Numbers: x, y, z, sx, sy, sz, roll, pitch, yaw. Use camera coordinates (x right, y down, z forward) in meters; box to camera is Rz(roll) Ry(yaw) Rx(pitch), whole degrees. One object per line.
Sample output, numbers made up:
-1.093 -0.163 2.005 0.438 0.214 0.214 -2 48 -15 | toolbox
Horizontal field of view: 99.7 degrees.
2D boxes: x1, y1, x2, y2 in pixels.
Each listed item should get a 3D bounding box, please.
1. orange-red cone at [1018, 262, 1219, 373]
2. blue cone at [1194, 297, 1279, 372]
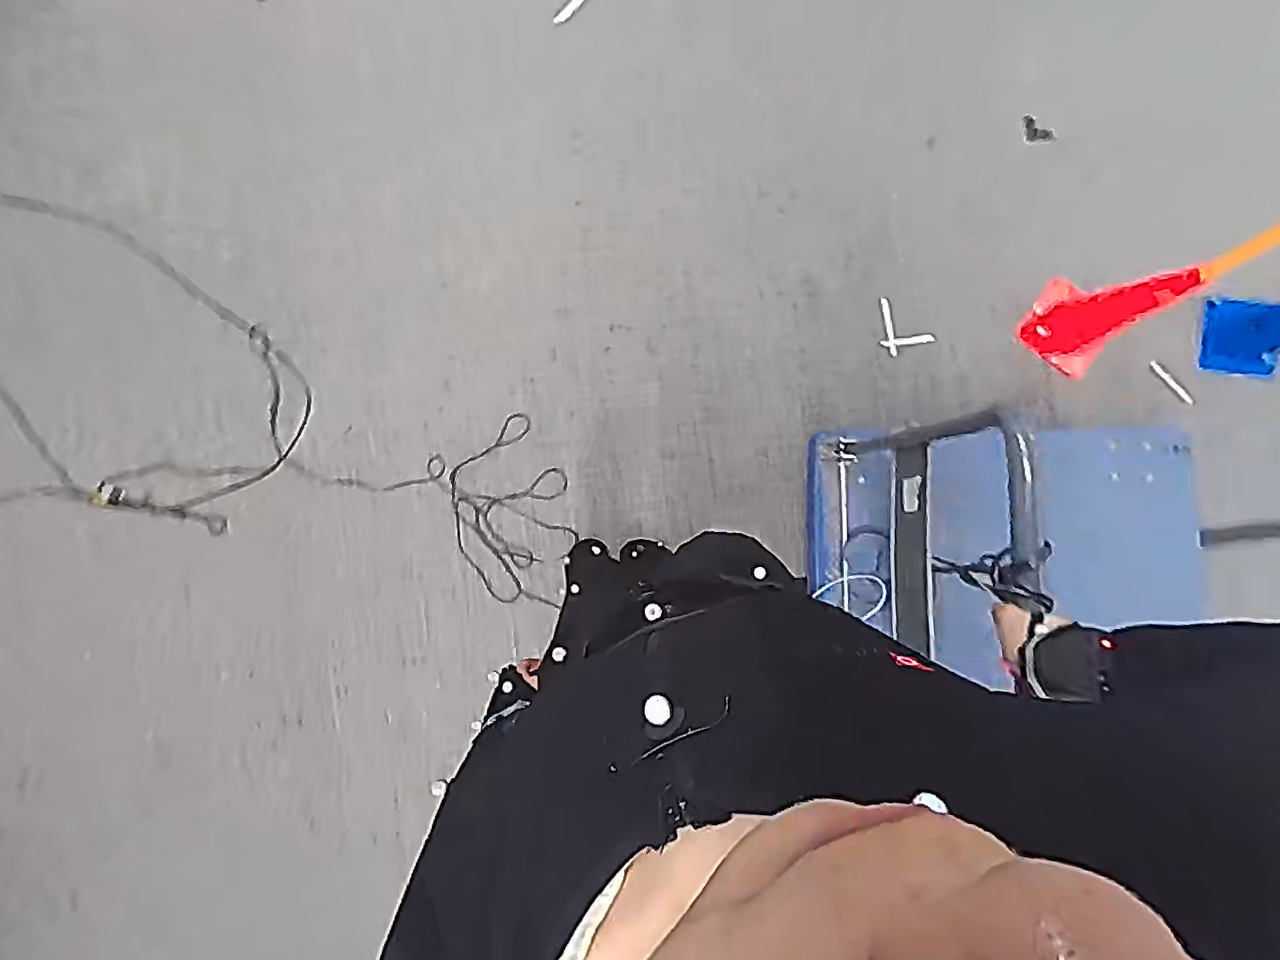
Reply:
1.107 -0.405 1.227 0.199 0.360 0.198 38 89 -1 | orange-red cone
1.549 -0.385 1.245 0.192 0.380 0.193 7 88 0 | blue cone
